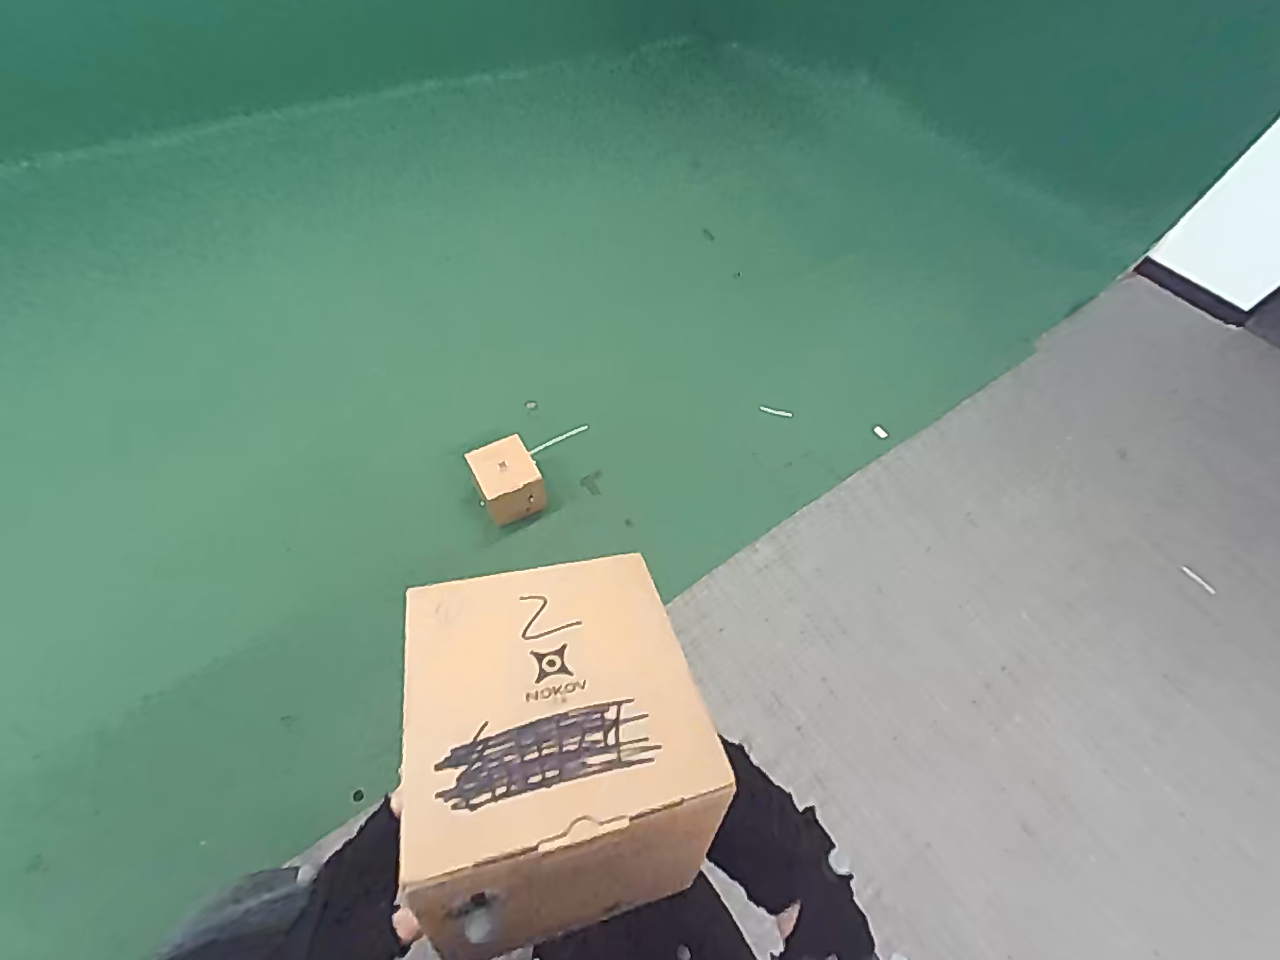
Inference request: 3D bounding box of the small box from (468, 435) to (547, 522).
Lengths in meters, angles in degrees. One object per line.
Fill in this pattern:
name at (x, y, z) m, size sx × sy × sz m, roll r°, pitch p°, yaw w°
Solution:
small box at (-0.388, 0.004, 1.605) m, size 0.168 × 0.176 × 0.179 m, roll -25°, pitch 63°, yaw -19°
